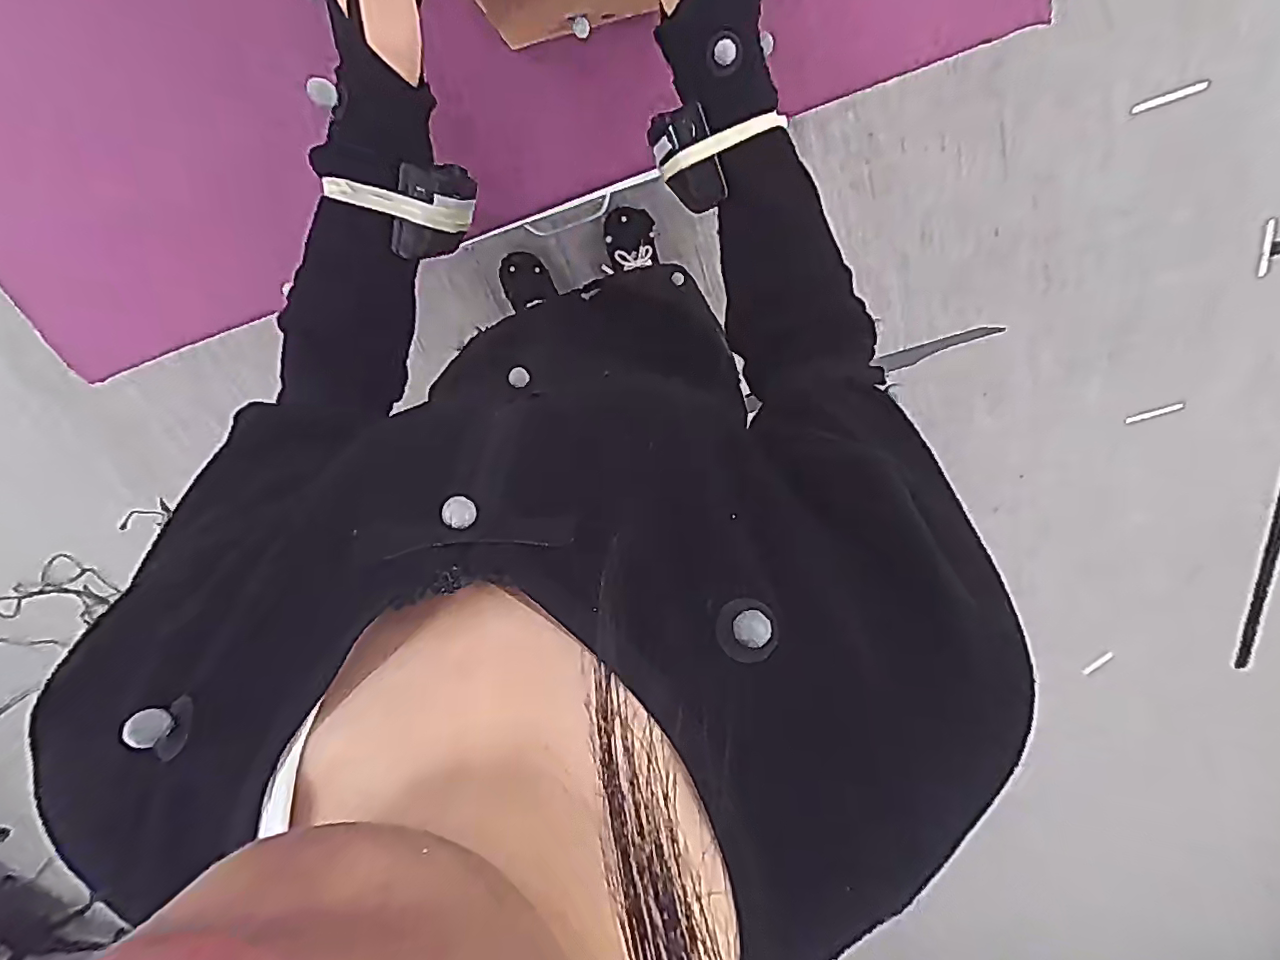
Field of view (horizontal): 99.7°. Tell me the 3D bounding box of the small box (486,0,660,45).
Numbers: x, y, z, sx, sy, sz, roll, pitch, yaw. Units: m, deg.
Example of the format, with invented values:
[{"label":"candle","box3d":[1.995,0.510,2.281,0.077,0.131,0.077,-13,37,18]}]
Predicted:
[{"label":"small box","box3d":[-0.071,-0.498,0.440,0.168,0.176,0.179,-11,117,5]}]
